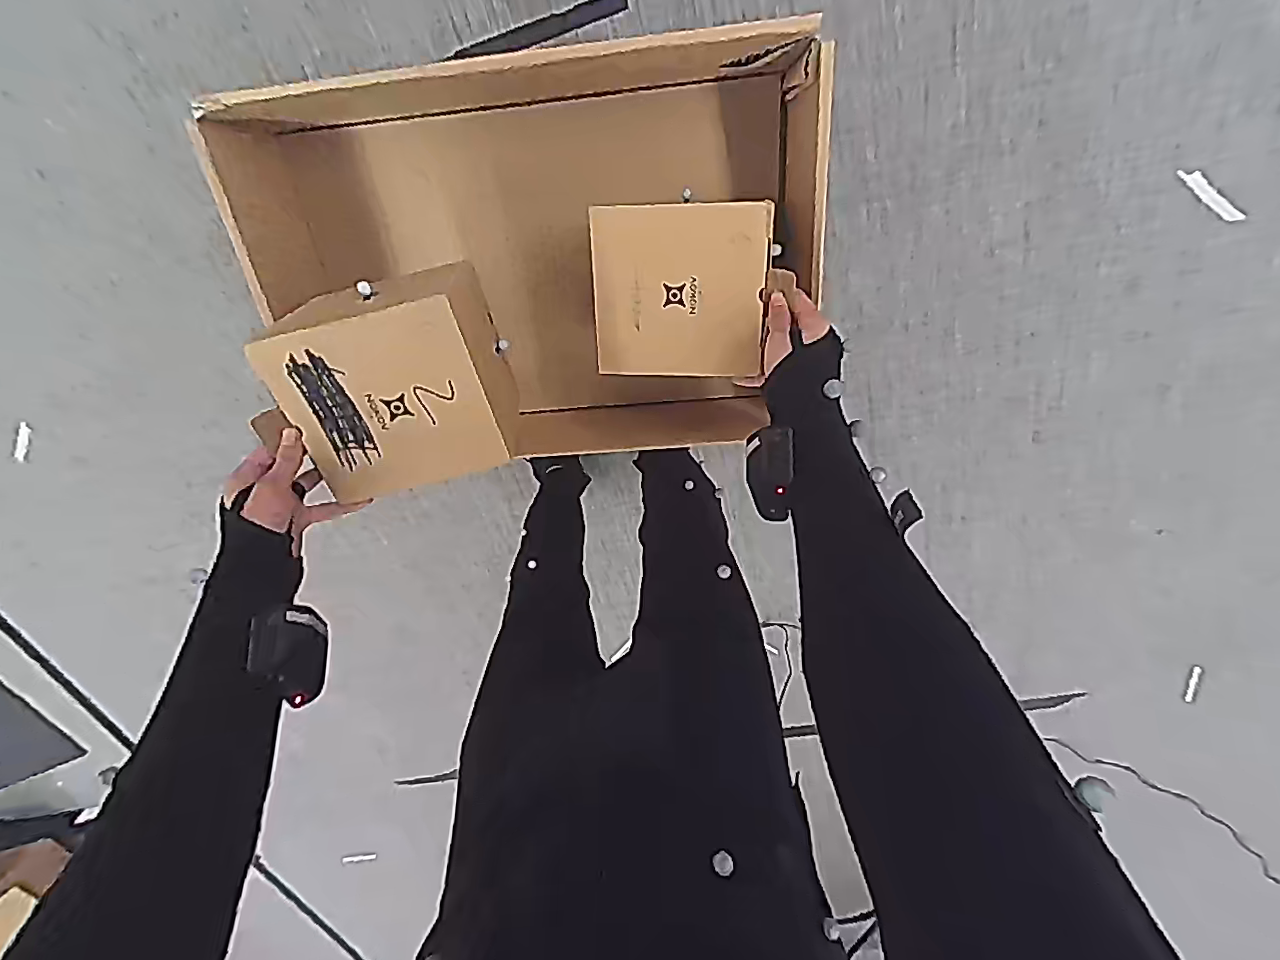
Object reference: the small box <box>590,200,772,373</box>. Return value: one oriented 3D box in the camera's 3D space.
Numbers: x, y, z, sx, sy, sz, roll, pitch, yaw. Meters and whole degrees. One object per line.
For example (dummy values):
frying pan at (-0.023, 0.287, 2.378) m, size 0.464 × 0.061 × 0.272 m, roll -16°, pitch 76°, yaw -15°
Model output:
small box at (0.050, -0.225, 0.614) m, size 0.179 × 0.176 × 0.168 m, roll 4°, pitch 116°, yaw 10°
